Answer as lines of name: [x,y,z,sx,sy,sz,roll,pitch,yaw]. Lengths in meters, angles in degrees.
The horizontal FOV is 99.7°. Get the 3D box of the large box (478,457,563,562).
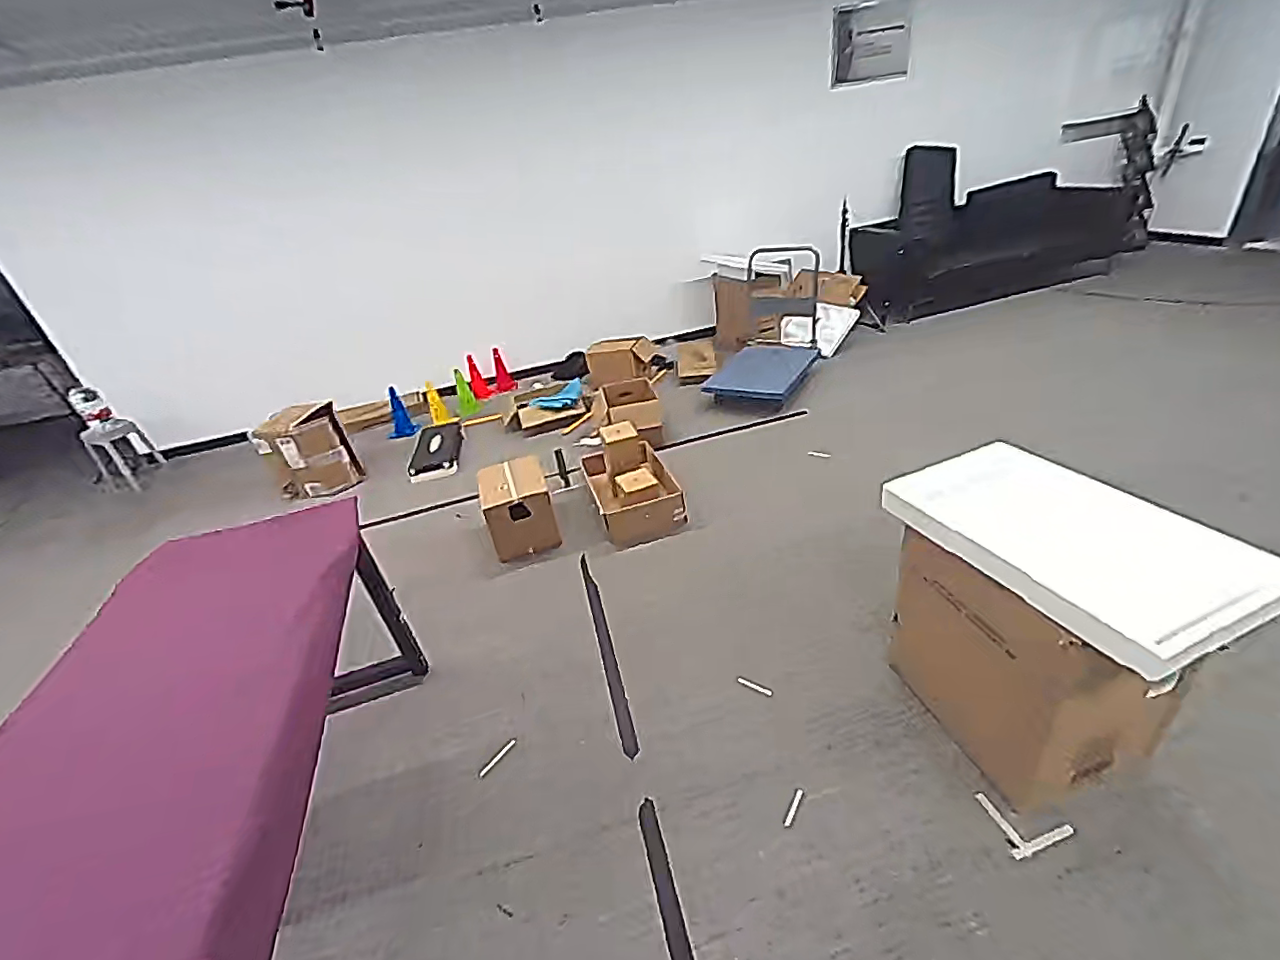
large box: [-0.597,0.139,2.692,0.320,0.320,0.408,-18,33,-12]

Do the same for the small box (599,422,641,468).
small box: [-0.102,-0.177,2.794,0.168,0.176,0.179,-15,33,-11]
